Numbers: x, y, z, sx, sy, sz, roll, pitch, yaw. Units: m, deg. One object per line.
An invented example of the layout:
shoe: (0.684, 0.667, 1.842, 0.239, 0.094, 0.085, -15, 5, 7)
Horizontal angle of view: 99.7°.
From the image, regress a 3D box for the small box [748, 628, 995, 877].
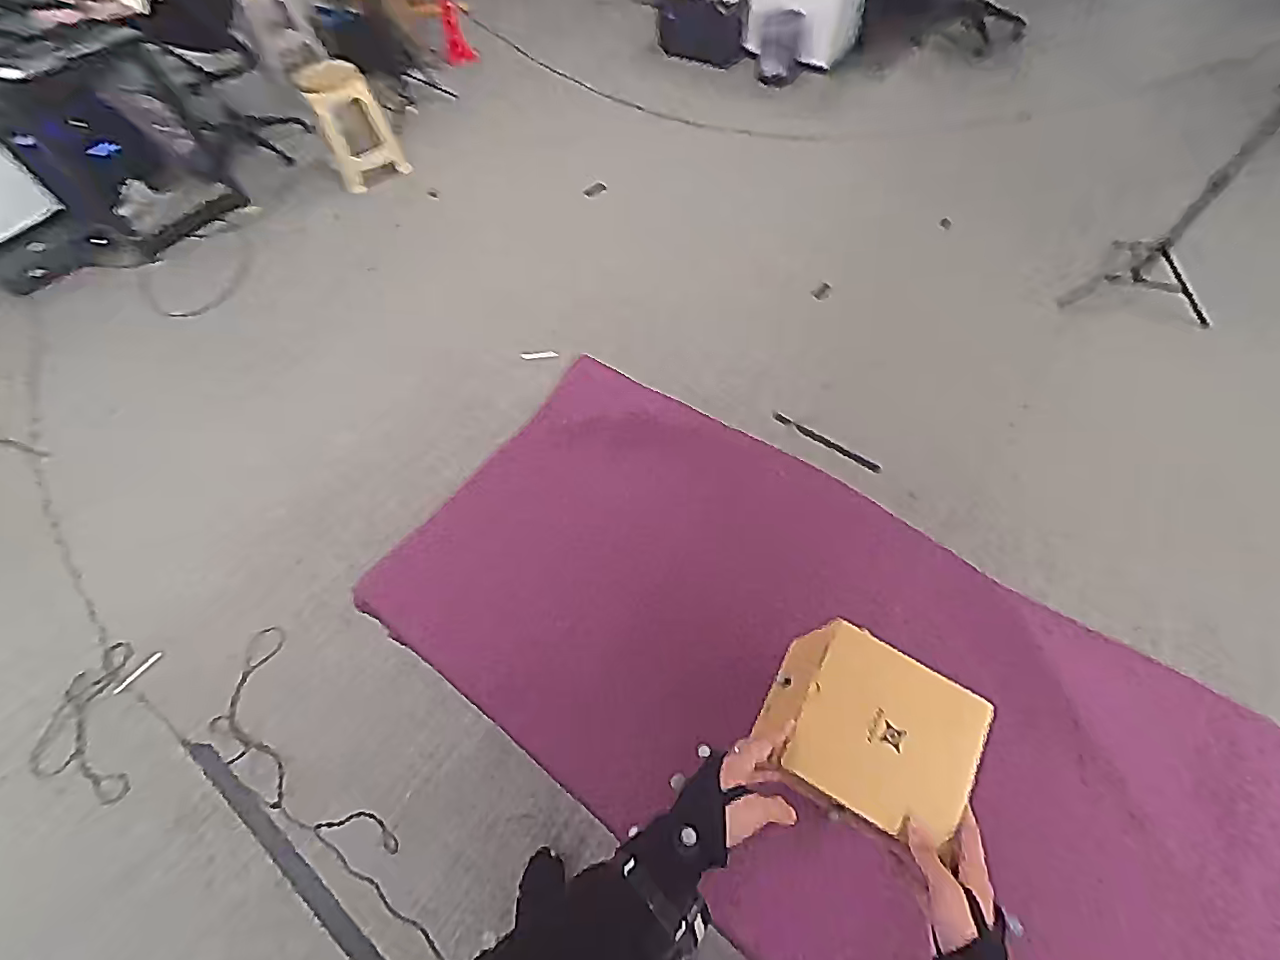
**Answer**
small box: (0.245, 0.291, 0.609, 0.179, 0.176, 0.168, 28, 69, 12)
